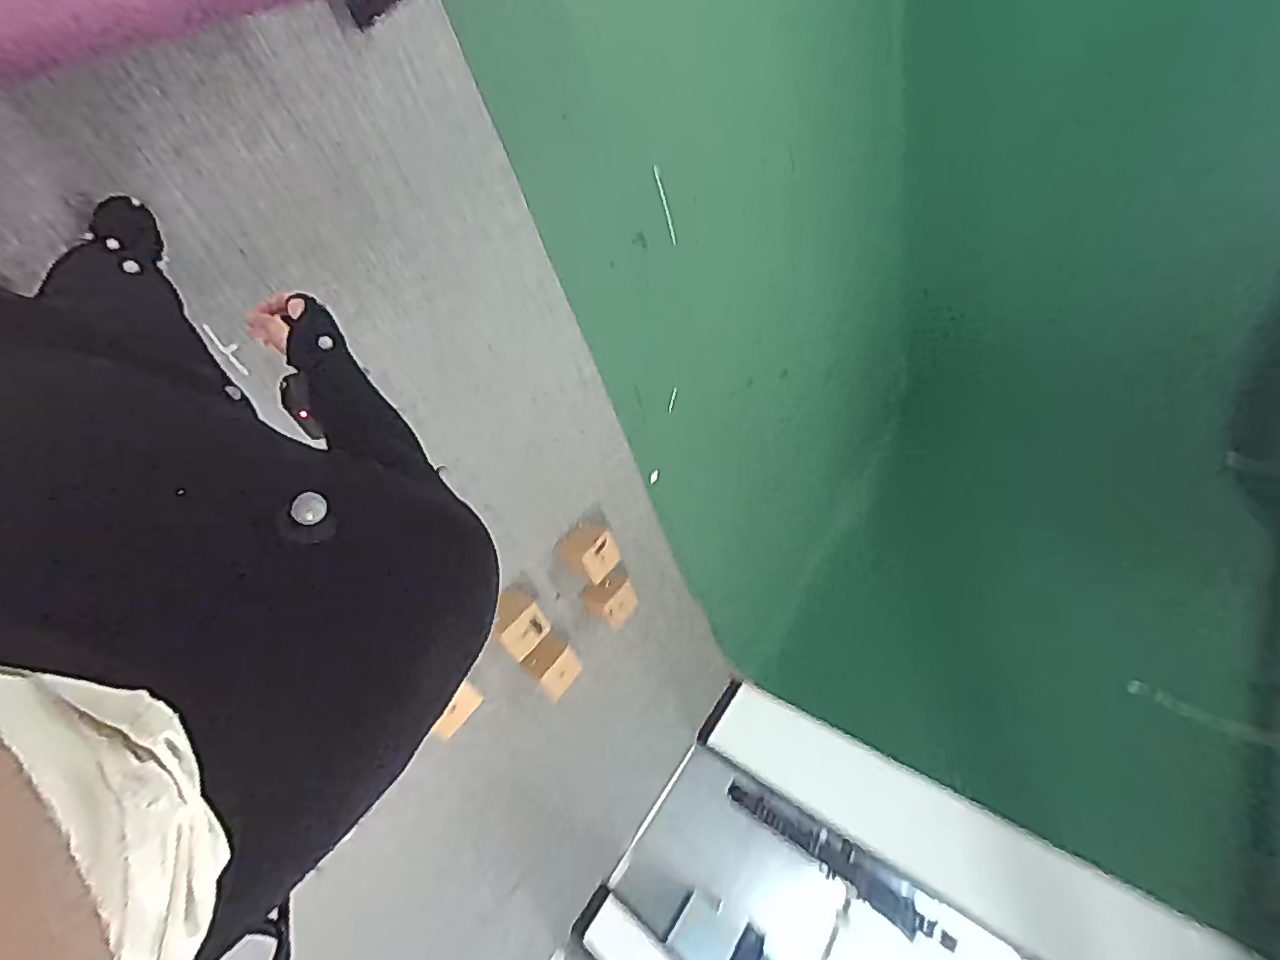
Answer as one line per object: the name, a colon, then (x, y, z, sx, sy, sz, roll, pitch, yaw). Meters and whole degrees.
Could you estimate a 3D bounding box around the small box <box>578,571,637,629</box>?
small box: (-0.148, 0.524, 2.410, 0.179, 0.176, 0.168, -45, 132, -31)

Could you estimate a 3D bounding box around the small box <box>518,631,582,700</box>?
small box: (-0.379, 0.761, 2.230, 0.179, 0.176, 0.168, -47, 134, -28)

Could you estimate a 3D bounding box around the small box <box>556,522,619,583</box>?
small box: (-0.221, 0.294, 2.249, 0.168, 0.176, 0.179, -45, 133, -29)

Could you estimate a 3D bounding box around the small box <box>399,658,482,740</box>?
small box: (-0.694, 0.752, 1.874, 0.179, 0.176, 0.168, -47, 133, -27)
